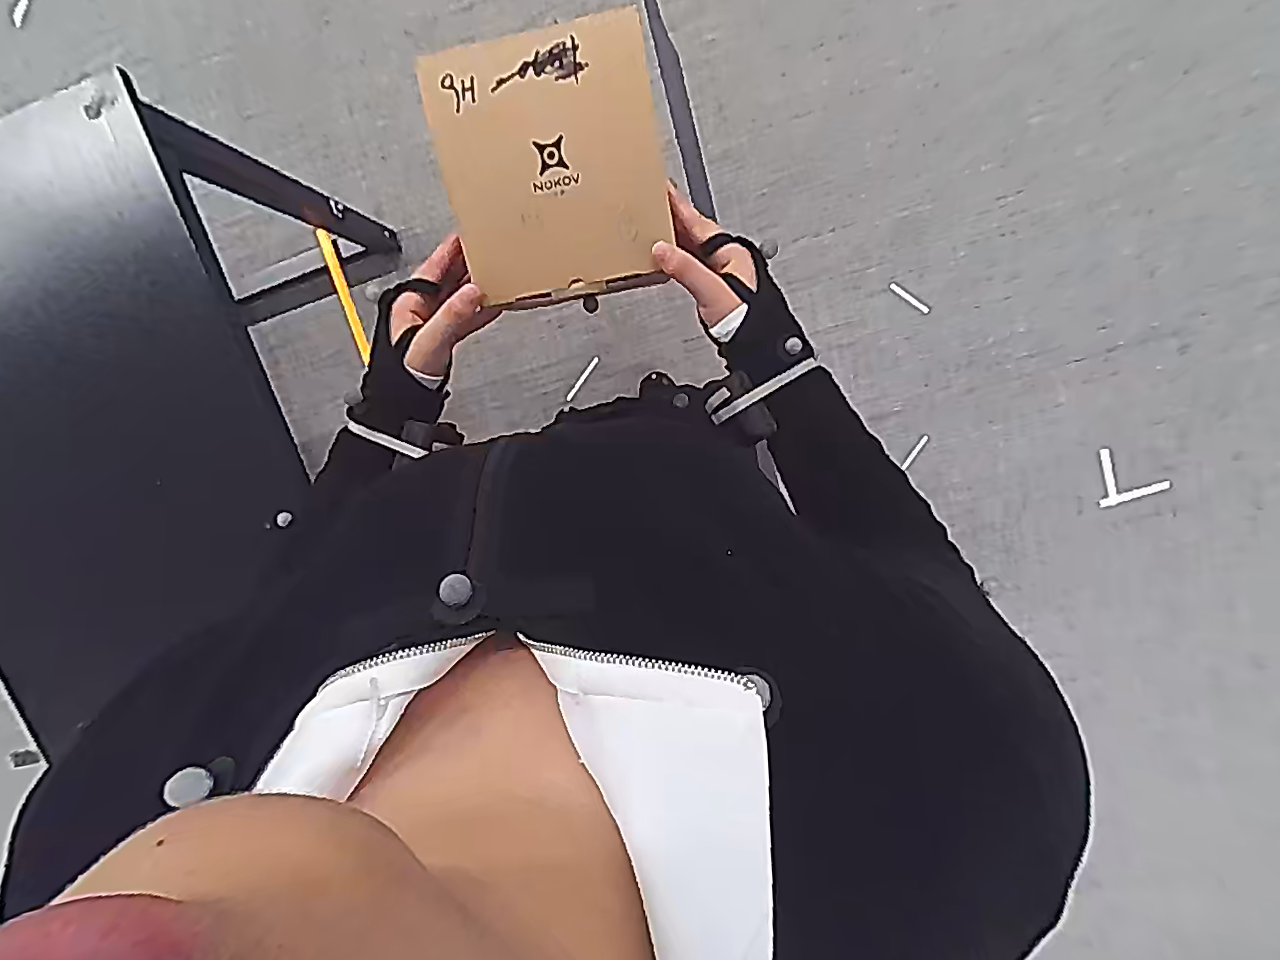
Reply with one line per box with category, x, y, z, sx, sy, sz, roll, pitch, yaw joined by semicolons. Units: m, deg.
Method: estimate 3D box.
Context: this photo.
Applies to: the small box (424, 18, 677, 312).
small box;-0.061;-0.258;0.488;0.168;0.176;0.179;-10;108;4
